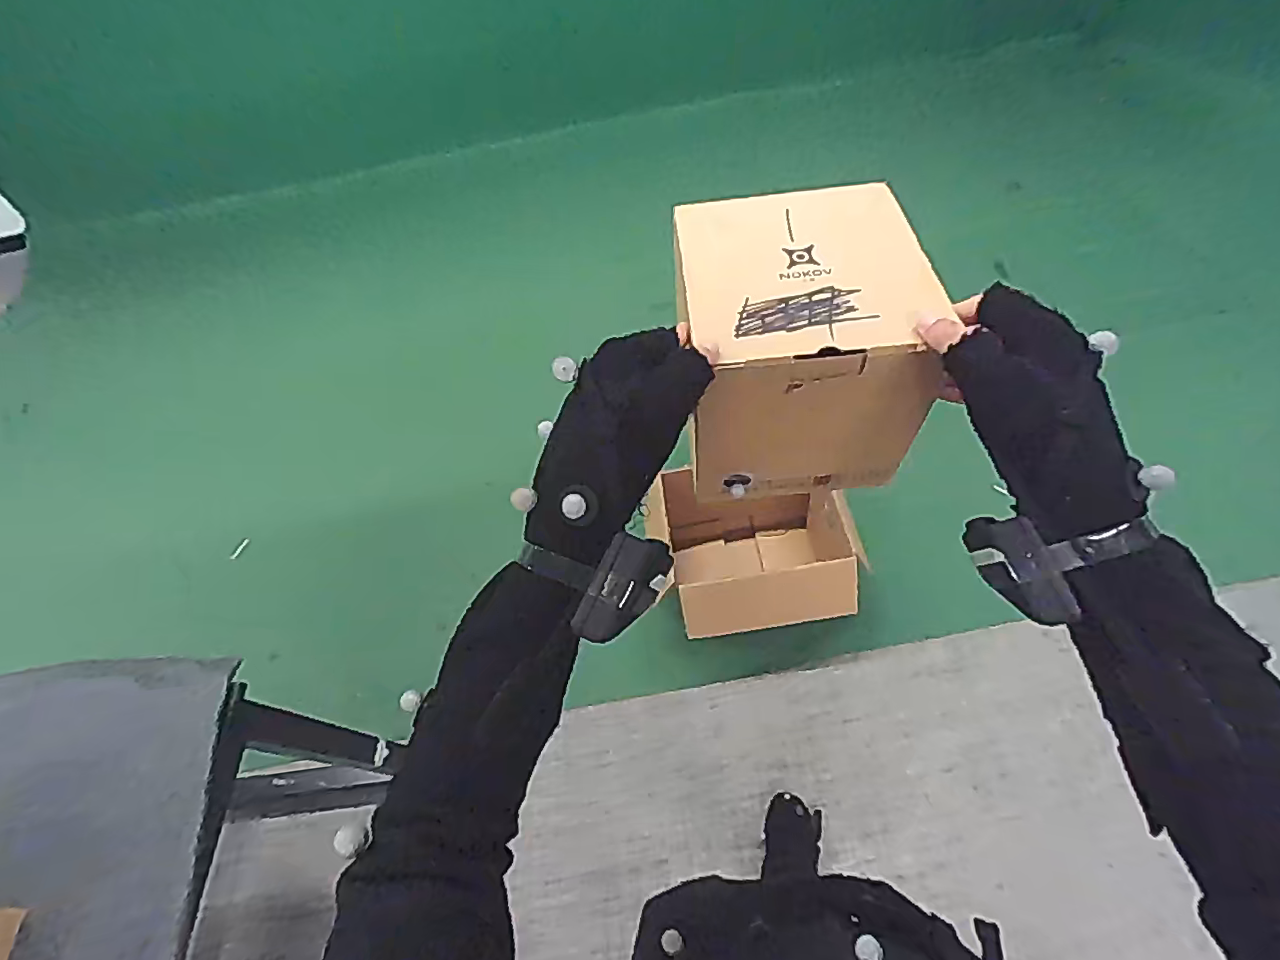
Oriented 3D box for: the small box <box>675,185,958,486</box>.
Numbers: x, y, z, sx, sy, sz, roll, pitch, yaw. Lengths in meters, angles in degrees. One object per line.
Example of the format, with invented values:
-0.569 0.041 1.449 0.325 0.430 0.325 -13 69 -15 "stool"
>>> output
0.120 -0.106 0.446 0.168 0.176 0.179 -5 57 3 "small box"
